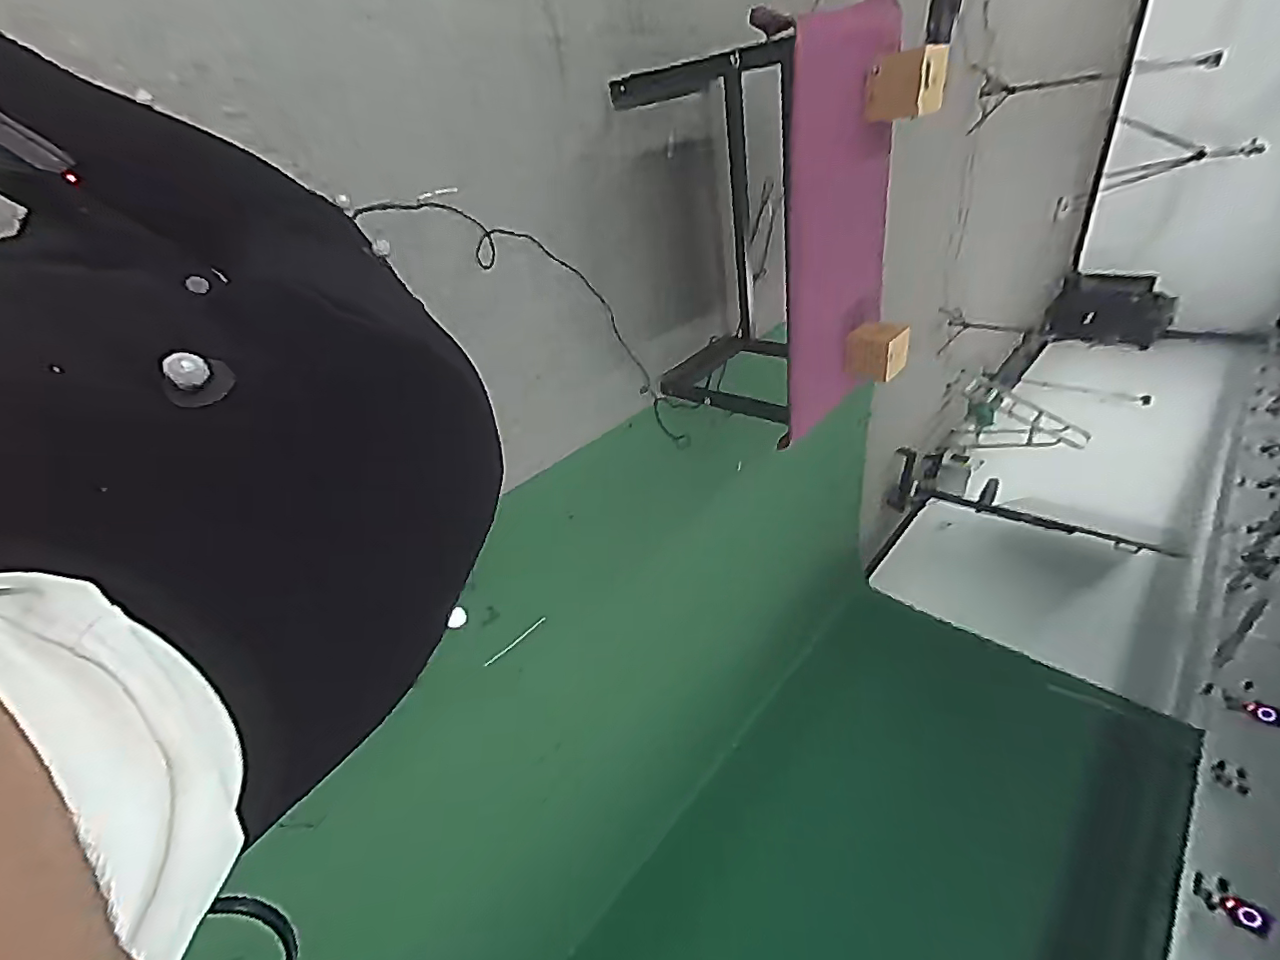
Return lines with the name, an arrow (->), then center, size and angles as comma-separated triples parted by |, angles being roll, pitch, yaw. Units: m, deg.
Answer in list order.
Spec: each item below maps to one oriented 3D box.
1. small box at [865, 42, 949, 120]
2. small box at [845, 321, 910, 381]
small box -> 0.807, -1.211, 1.646 | 0.179, 0.176, 0.168 | -33, 130, -33
small box -> 0.914, -0.504, 2.086 | 0.179, 0.176, 0.168 | -37, 130, -32
